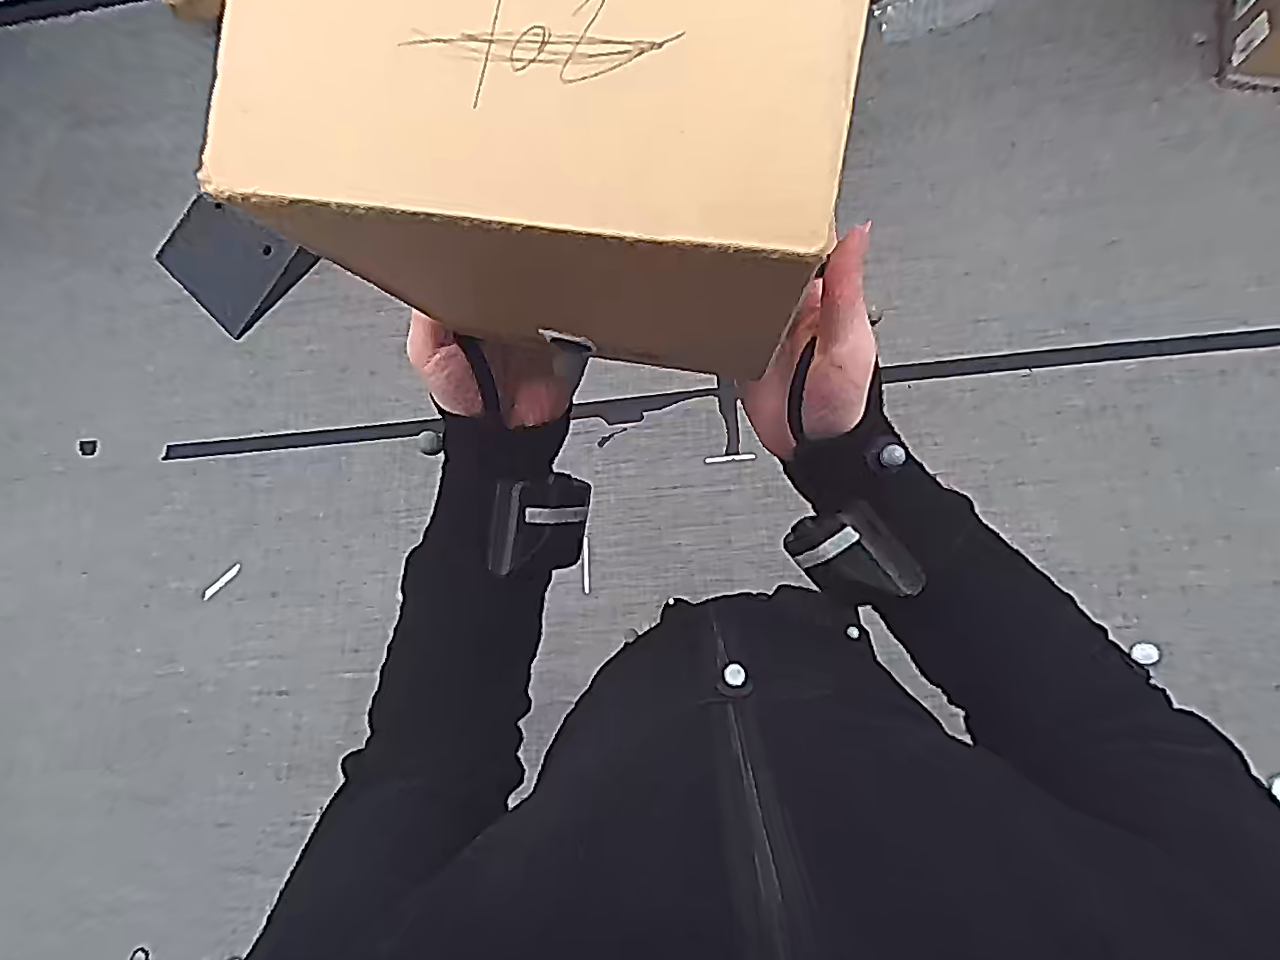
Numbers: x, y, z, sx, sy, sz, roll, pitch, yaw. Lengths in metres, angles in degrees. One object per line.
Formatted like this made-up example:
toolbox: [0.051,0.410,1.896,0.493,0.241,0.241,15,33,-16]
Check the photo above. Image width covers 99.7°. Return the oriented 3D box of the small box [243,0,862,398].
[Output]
small box: [-0.012,-0.142,0.225,0.168,0.176,0.179,10,92,8]
